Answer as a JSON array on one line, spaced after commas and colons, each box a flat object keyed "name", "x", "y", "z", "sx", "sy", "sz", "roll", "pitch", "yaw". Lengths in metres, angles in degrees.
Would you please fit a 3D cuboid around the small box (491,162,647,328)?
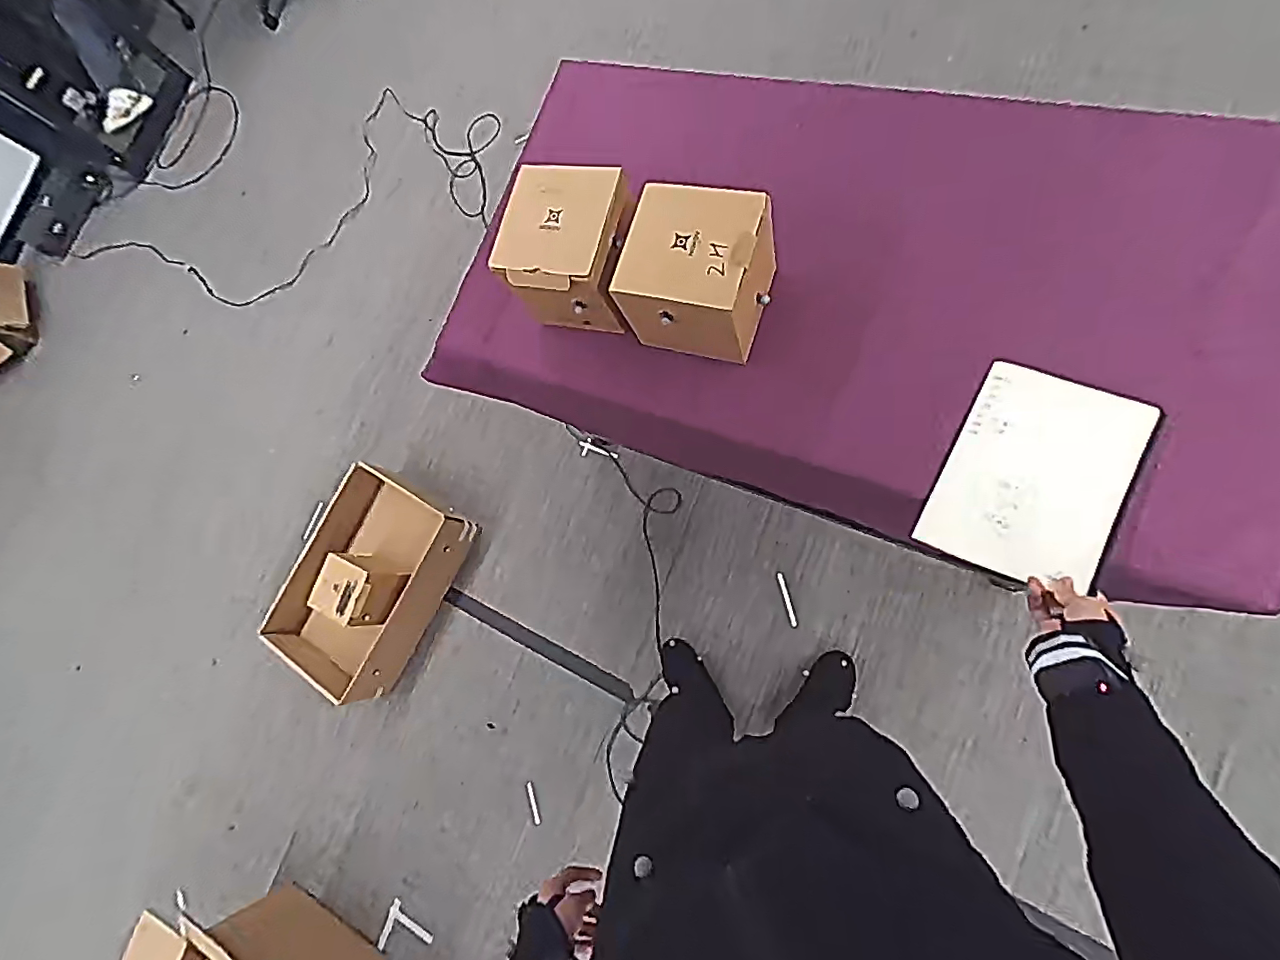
[{"name": "small box", "x": -0.099, "y": -0.359, "z": 0.847, "sx": 0.168, "sy": 0.176, "sz": 0.179, "roll": 13, "pitch": 82, "yaw": 18}]
